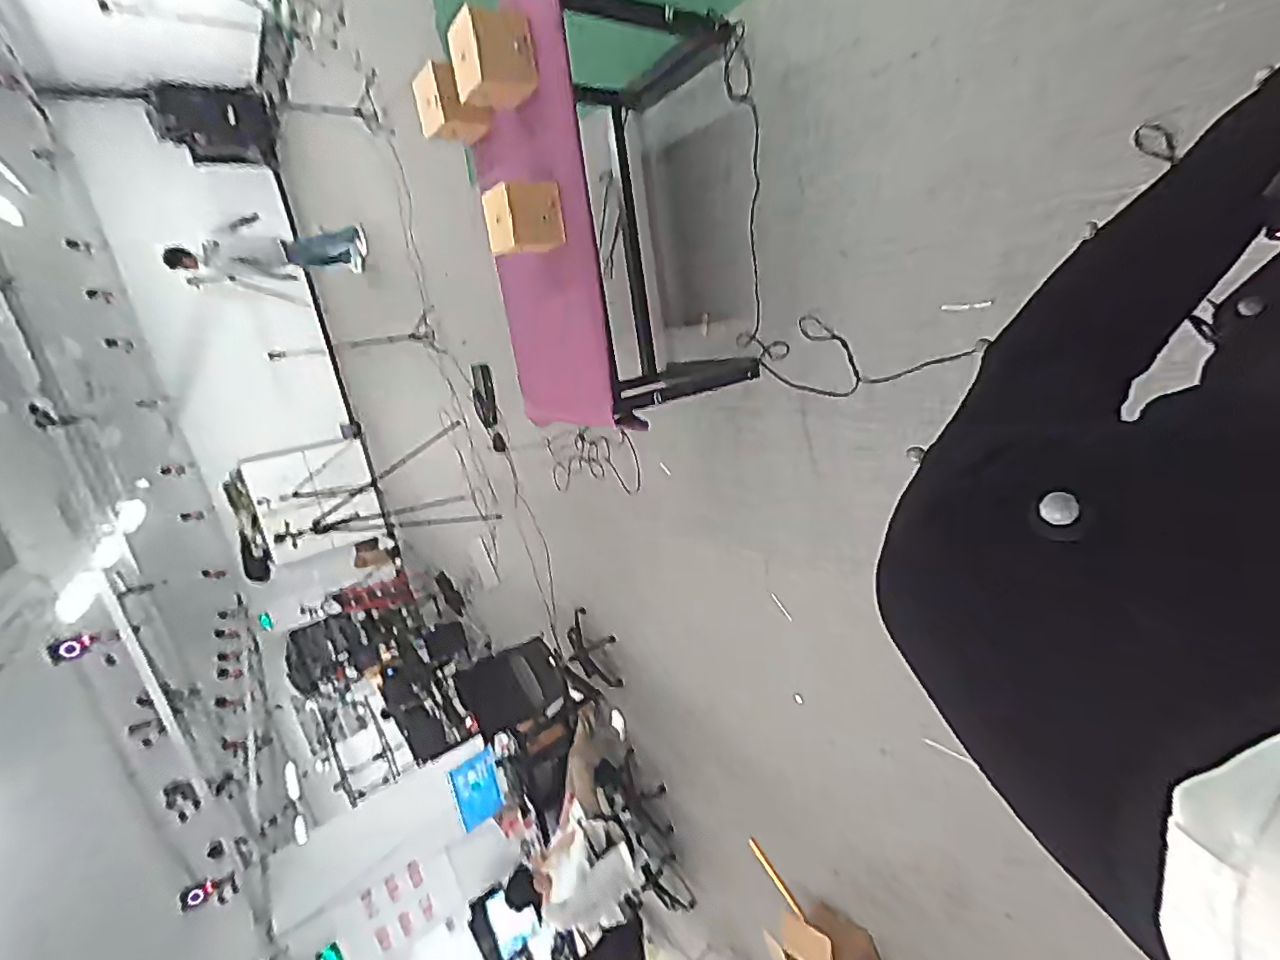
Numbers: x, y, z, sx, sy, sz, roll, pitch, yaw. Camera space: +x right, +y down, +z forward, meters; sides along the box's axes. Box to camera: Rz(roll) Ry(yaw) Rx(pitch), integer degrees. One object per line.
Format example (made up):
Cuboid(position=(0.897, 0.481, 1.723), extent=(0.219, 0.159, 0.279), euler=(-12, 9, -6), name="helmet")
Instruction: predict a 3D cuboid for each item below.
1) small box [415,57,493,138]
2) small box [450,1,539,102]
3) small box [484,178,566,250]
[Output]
Cuboid(position=(-0.594, -1.217, 1.737), extent=(0.179, 0.176, 0.168), euler=(14, 119, 50), name="small box")
Cuboid(position=(-0.398, -1.165, 1.487), extent=(0.179, 0.176, 0.168), euler=(18, 122, 51), name="small box")
Cuboid(position=(-0.339, -0.782, 1.605), extent=(0.179, 0.176, 0.168), euler=(17, 119, 51), name="small box")
